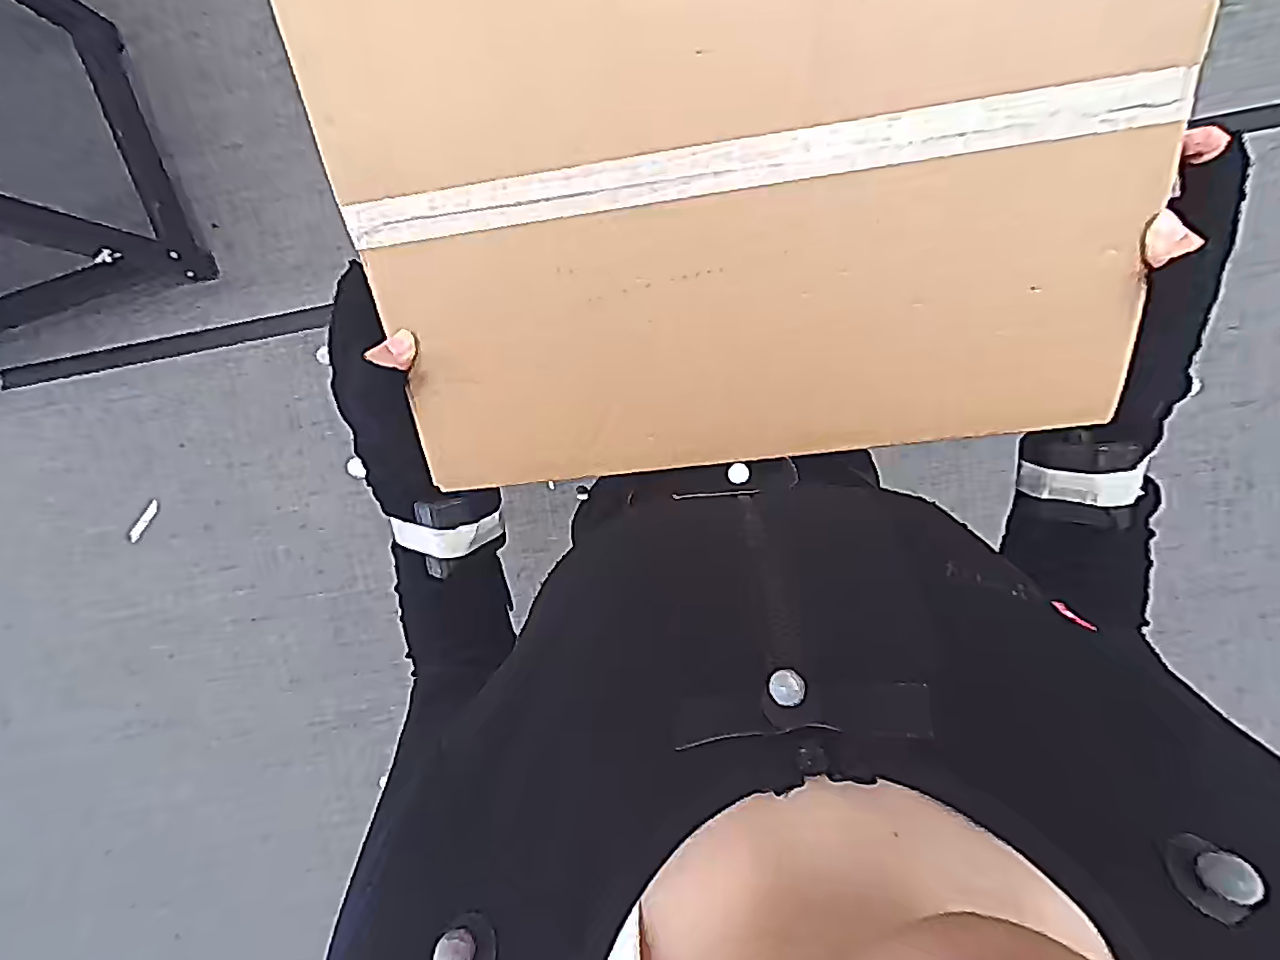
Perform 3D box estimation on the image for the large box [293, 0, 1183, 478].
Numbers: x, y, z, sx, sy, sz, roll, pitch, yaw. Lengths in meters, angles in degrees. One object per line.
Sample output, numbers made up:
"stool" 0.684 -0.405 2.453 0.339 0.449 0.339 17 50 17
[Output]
"large box" 0.051 -0.223 0.408 0.408 0.320 0.320 -6 116 5
